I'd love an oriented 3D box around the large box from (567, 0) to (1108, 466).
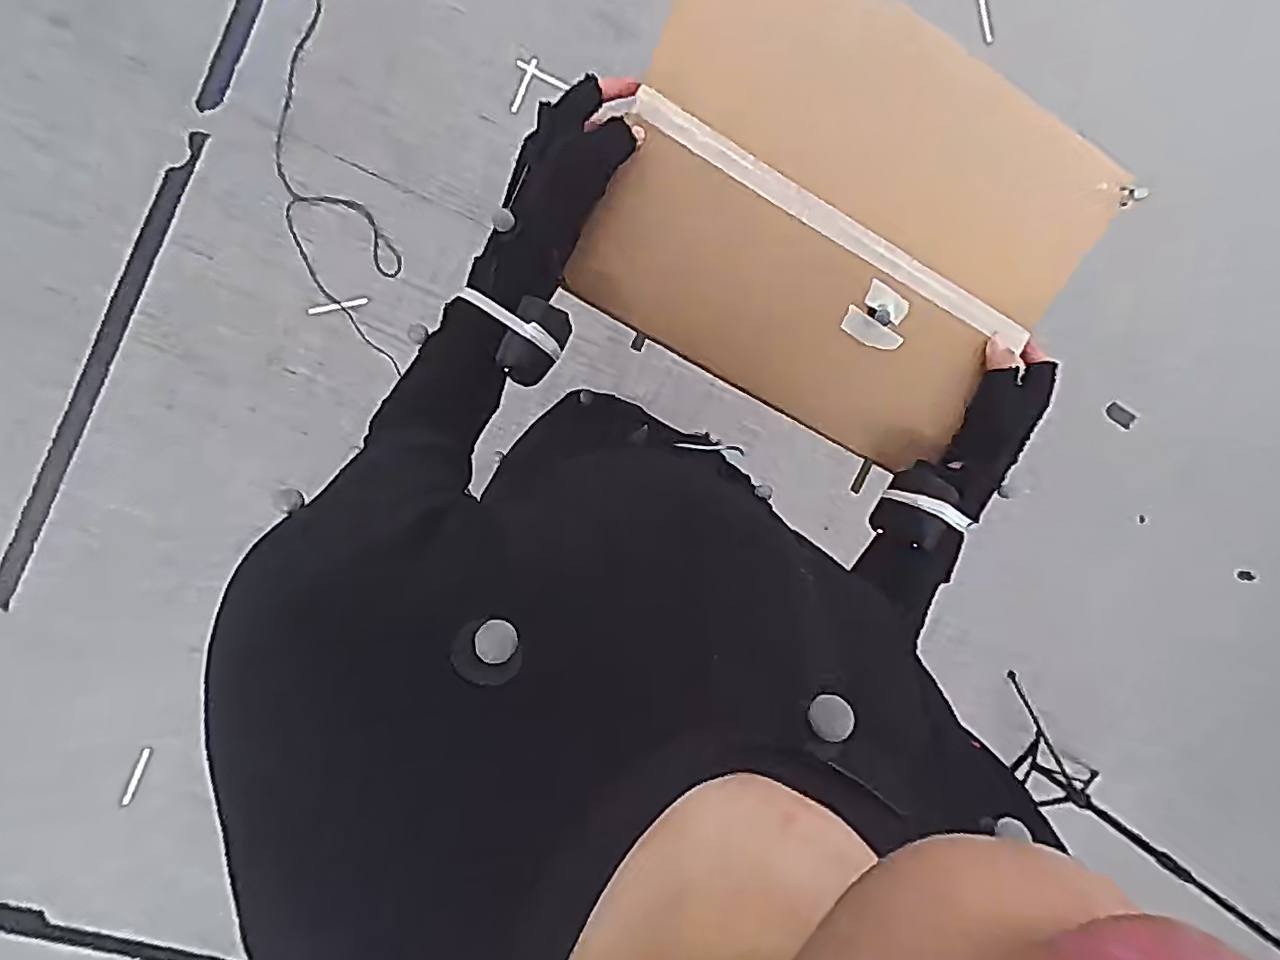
[{"bbox_3d":[0.166,-0.271,0.623,0.408,0.320,0.320,27,105,-11],"label":"large box"}]
